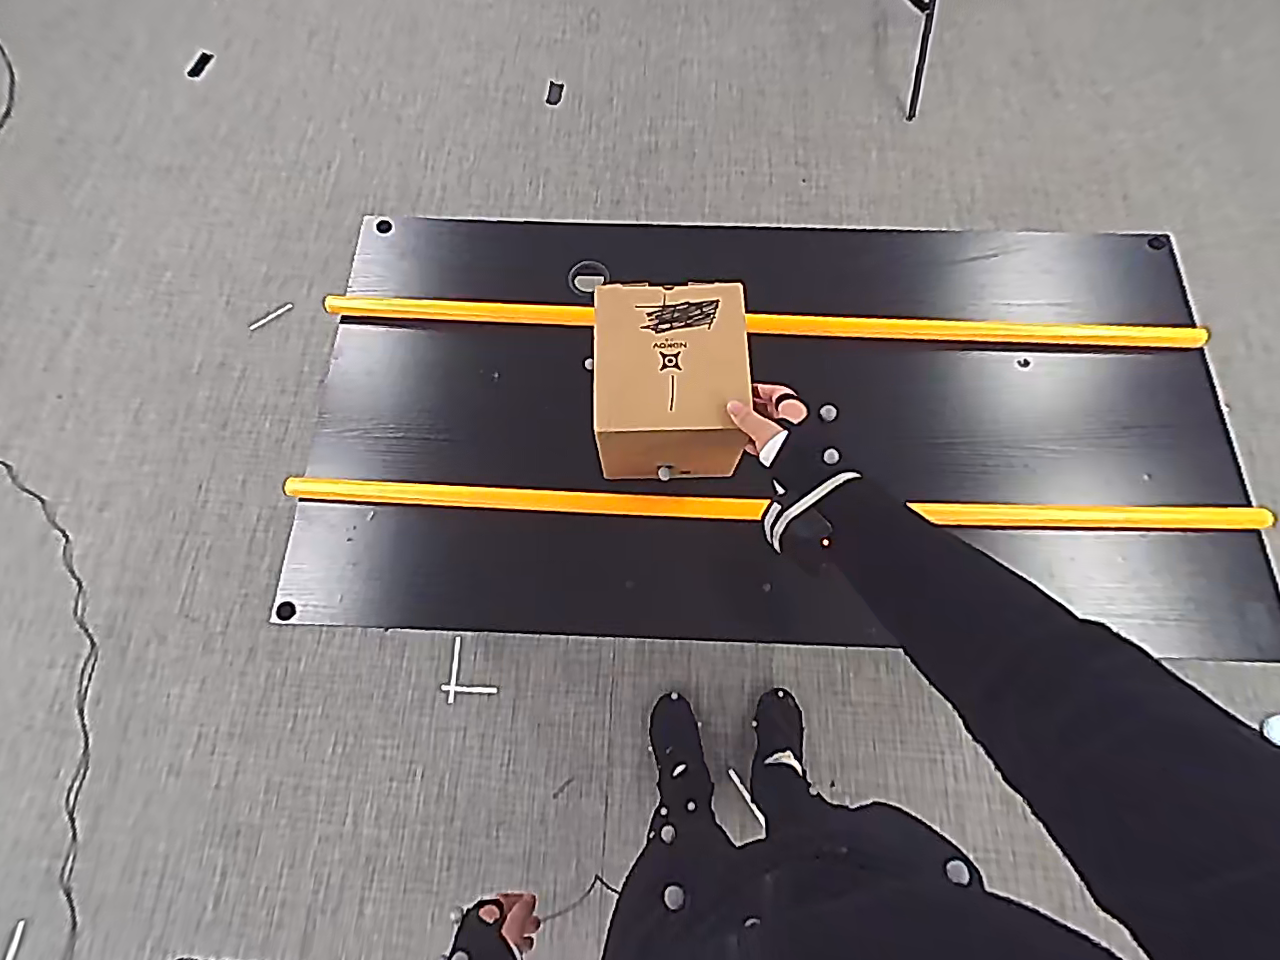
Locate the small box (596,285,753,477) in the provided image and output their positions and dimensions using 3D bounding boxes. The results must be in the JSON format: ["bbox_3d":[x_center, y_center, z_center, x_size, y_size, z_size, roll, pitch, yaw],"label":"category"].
[{"bbox_3d":[0.035,-0.111,0.656,0.168,0.176,0.179,-1,74,1],"label":"small box"}]
